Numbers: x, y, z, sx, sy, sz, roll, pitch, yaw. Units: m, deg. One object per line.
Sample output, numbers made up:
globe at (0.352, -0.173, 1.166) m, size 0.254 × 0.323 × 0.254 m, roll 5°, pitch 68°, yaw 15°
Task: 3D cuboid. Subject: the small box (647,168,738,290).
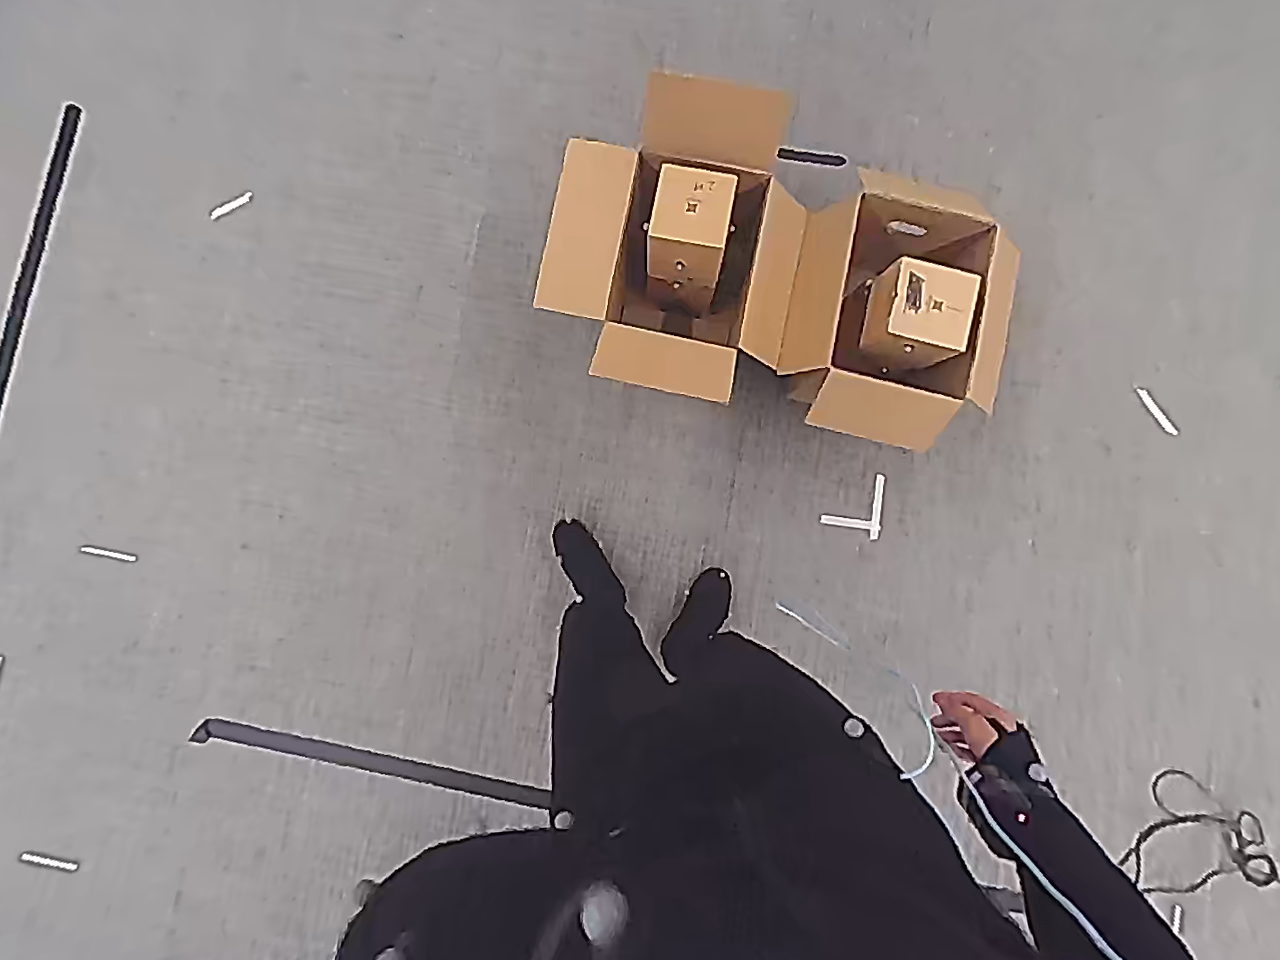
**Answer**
small box at (0.114, -0.555, 1.217) m, size 0.168 × 0.176 × 0.179 m, roll 11°, pitch 81°, yaw 2°
